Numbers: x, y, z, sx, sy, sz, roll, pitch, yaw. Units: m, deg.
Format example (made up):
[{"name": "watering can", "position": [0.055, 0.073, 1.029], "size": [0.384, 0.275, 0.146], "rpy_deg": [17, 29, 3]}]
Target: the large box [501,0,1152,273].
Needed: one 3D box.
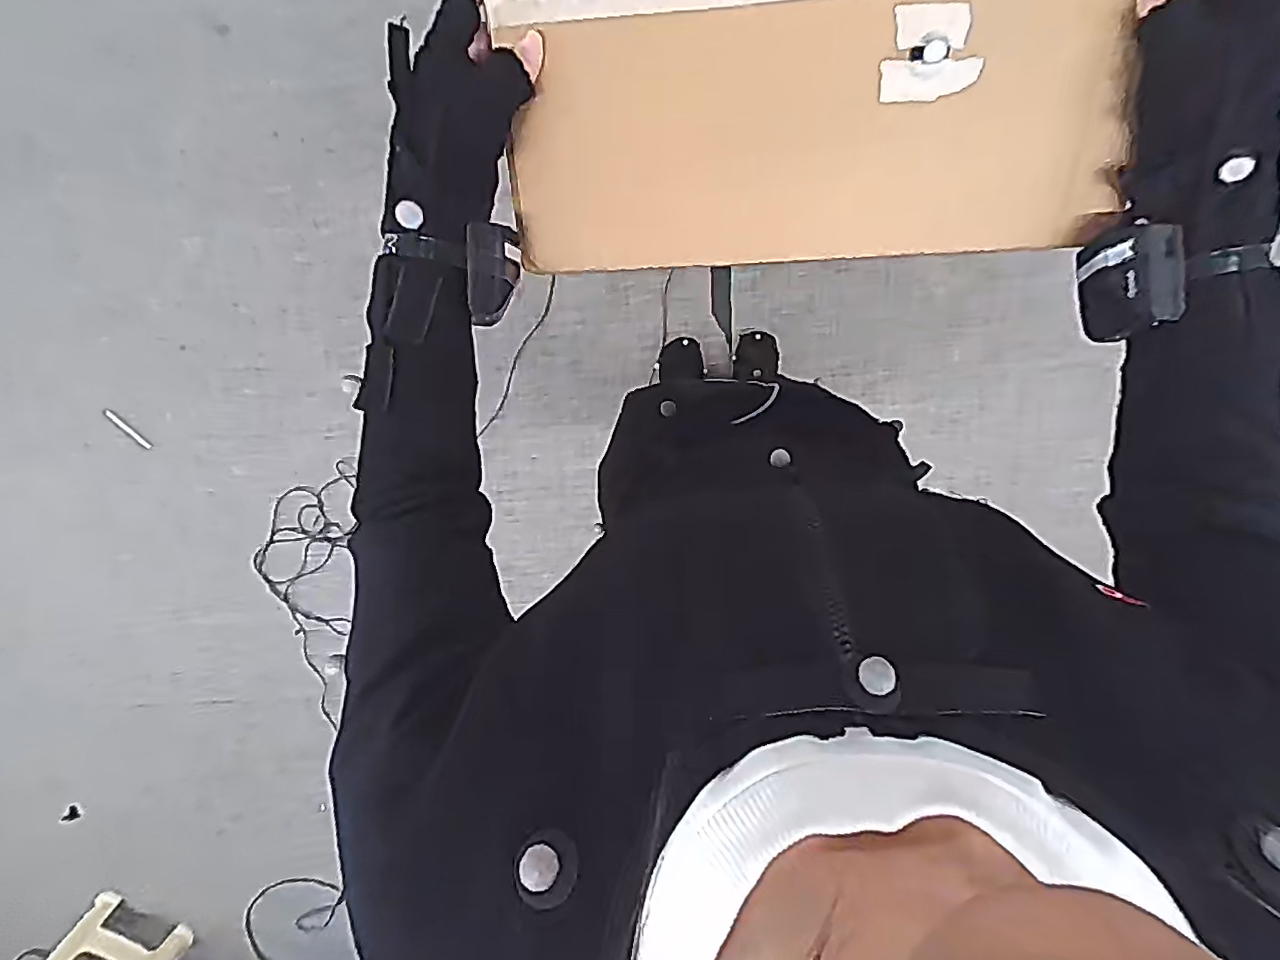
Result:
[{"name": "large box", "position": [0.117, -0.365, 0.468], "size": [0.408, 0.320, 0.320], "rpy_deg": [-1, 114, 5]}]
